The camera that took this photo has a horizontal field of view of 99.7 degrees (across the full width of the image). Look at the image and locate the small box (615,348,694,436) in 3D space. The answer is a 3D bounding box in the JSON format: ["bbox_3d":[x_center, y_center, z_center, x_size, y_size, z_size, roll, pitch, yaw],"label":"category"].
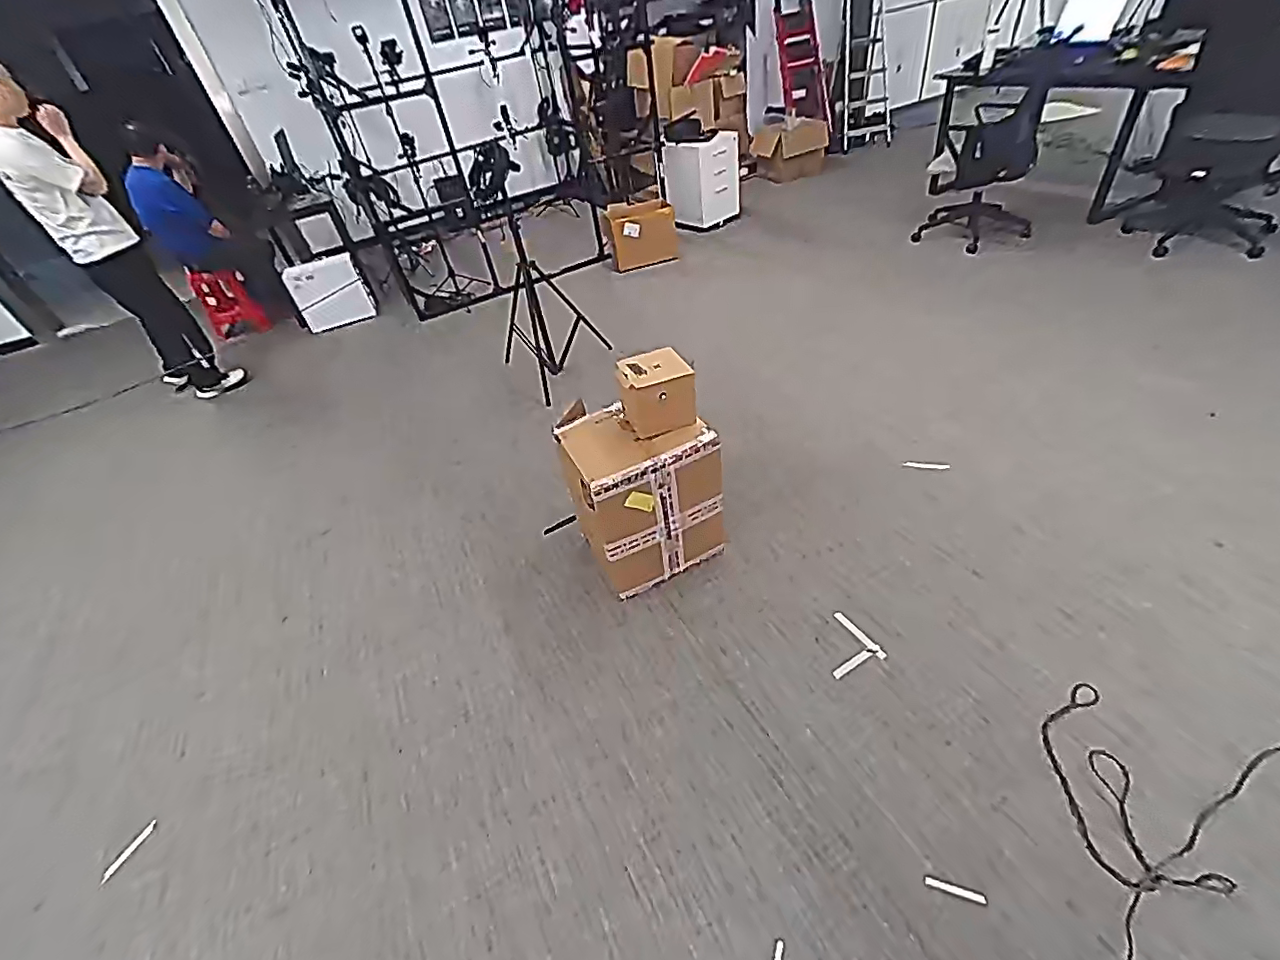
[{"bbox_3d":[0.045,-0.248,1.544,0.179,0.176,0.168,-19,43,-13],"label":"small box"}]
